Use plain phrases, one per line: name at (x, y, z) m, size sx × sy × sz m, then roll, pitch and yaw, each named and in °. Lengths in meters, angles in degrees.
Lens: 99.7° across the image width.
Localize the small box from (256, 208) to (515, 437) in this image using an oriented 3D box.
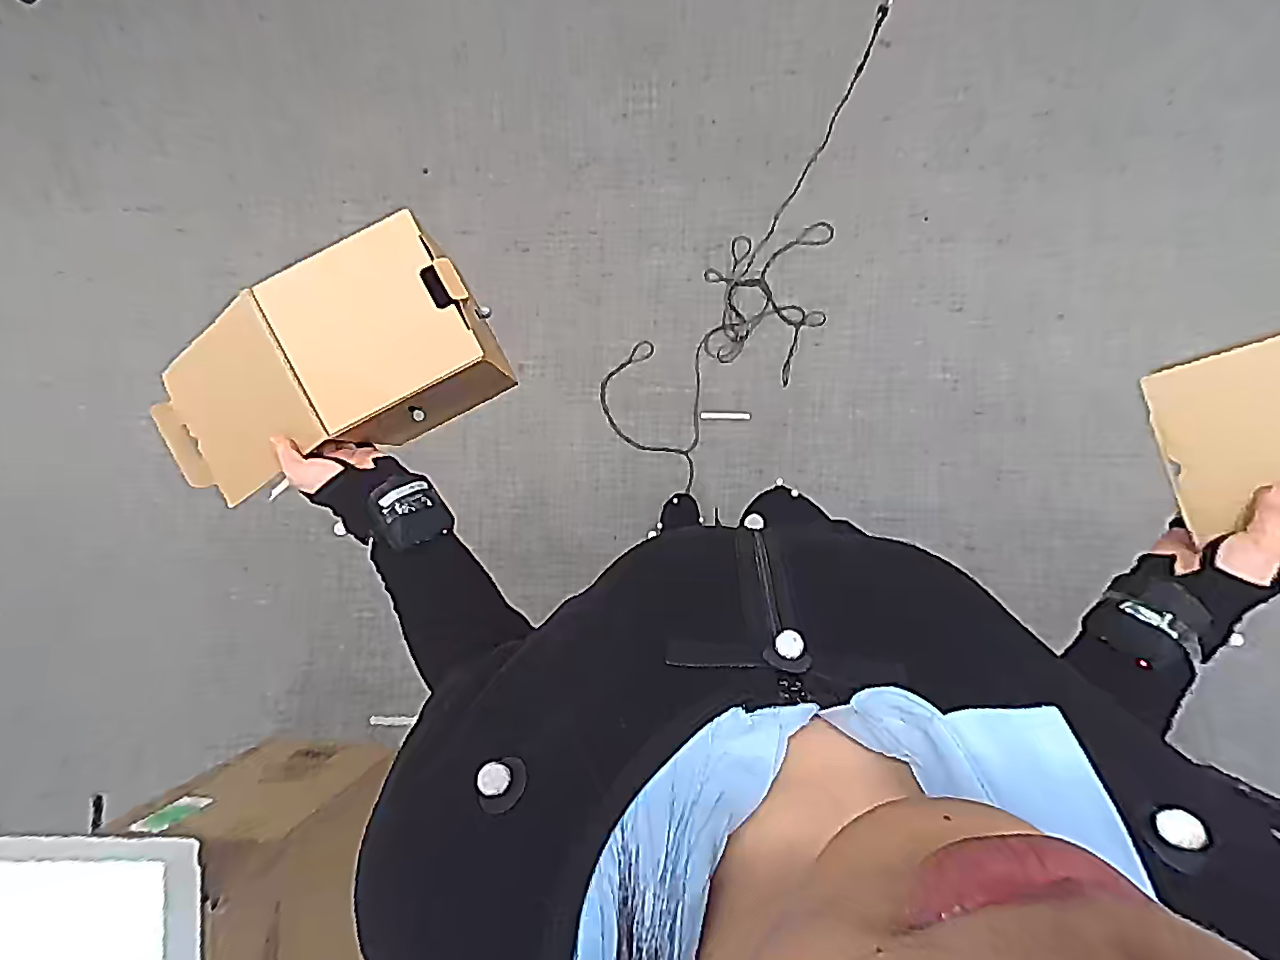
small box at (-0.265, -0.158, 0.609) m, size 0.179 × 0.176 × 0.168 m, roll -27°, pitch 92°, yaw -1°
